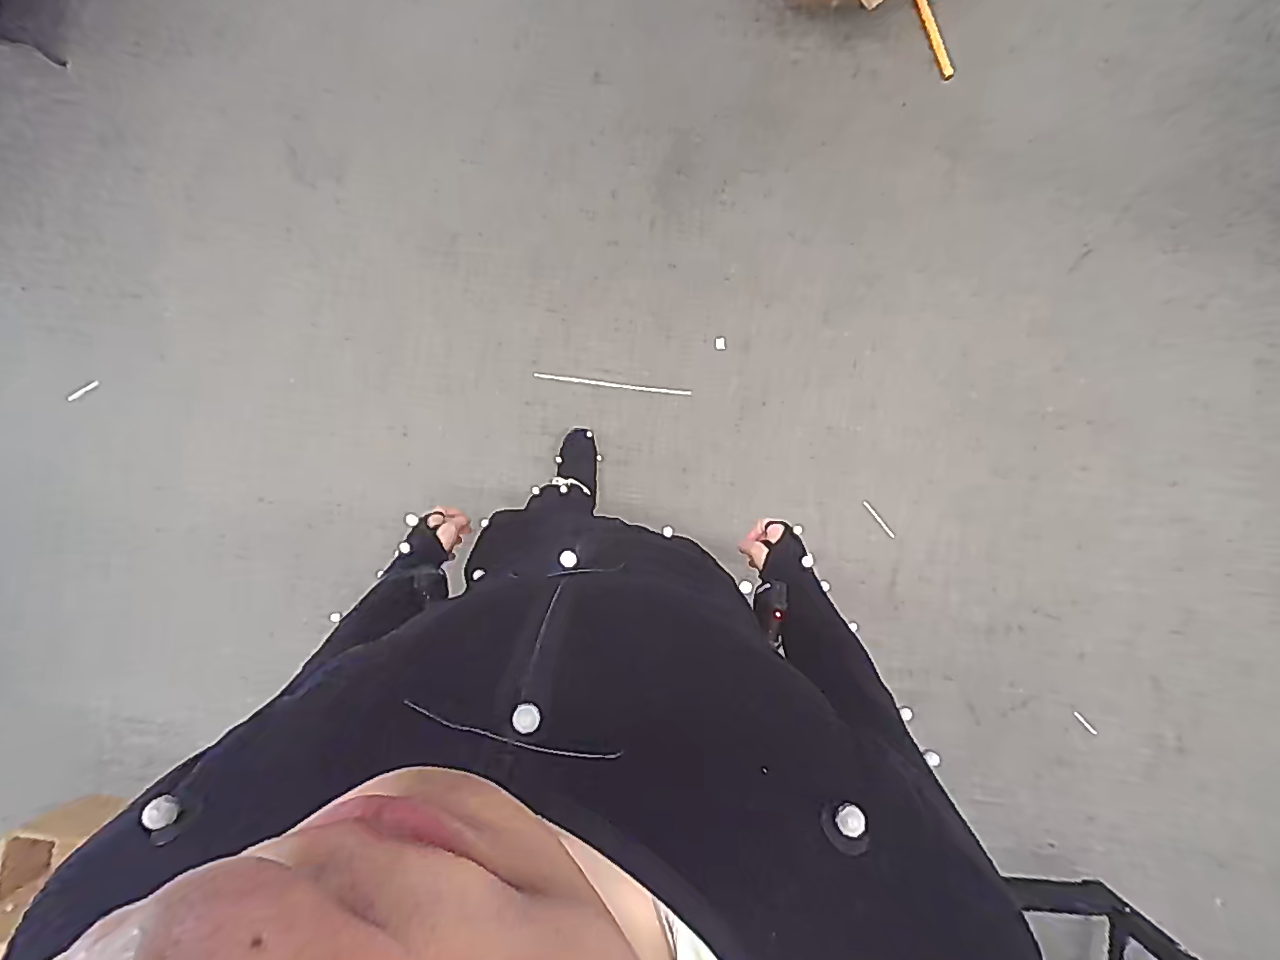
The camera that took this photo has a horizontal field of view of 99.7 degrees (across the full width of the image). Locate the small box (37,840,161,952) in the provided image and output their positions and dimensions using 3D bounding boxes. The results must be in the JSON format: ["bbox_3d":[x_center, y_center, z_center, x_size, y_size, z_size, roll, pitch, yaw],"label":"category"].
[{"bbox_3d":[-1.418,1.082,1.418,0.179,0.176,0.168,7,88,-2],"label":"small box"}]

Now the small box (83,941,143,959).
[{"bbox_3d":[-1.455,1.341,1.403,0.179,0.176,0.168,7,87,-3],"label":"small box"}]

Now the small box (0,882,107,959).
[{"bbox_3d":[-1.415,1.078,1.254,0.179,0.176,0.168,10,89,-3],"label":"small box"}]
